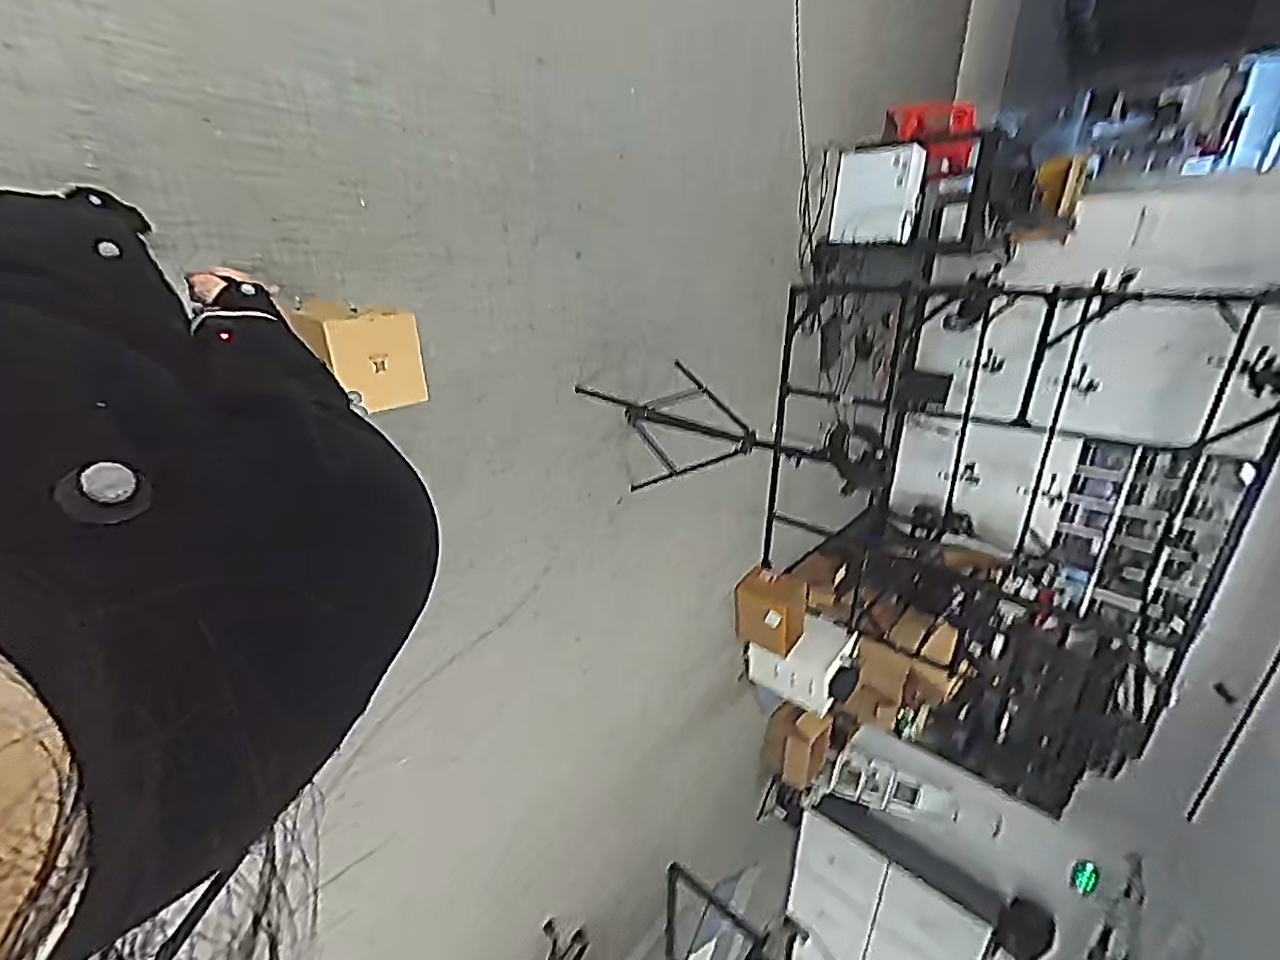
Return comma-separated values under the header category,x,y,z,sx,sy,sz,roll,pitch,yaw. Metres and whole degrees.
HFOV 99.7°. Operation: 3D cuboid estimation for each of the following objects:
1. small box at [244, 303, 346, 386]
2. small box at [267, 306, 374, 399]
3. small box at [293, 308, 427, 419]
category,x,y,z,sx,sy,sz,roll,pitch,yaw
small box,-0.785,-0.319,1.251,0.179,0.176,0.168,-23,121,-43
small box,-0.664,-0.277,1.151,0.179,0.176,0.168,-24,123,-44
small box,-0.543,-0.234,1.053,0.168,0.176,0.179,-24,122,-42
